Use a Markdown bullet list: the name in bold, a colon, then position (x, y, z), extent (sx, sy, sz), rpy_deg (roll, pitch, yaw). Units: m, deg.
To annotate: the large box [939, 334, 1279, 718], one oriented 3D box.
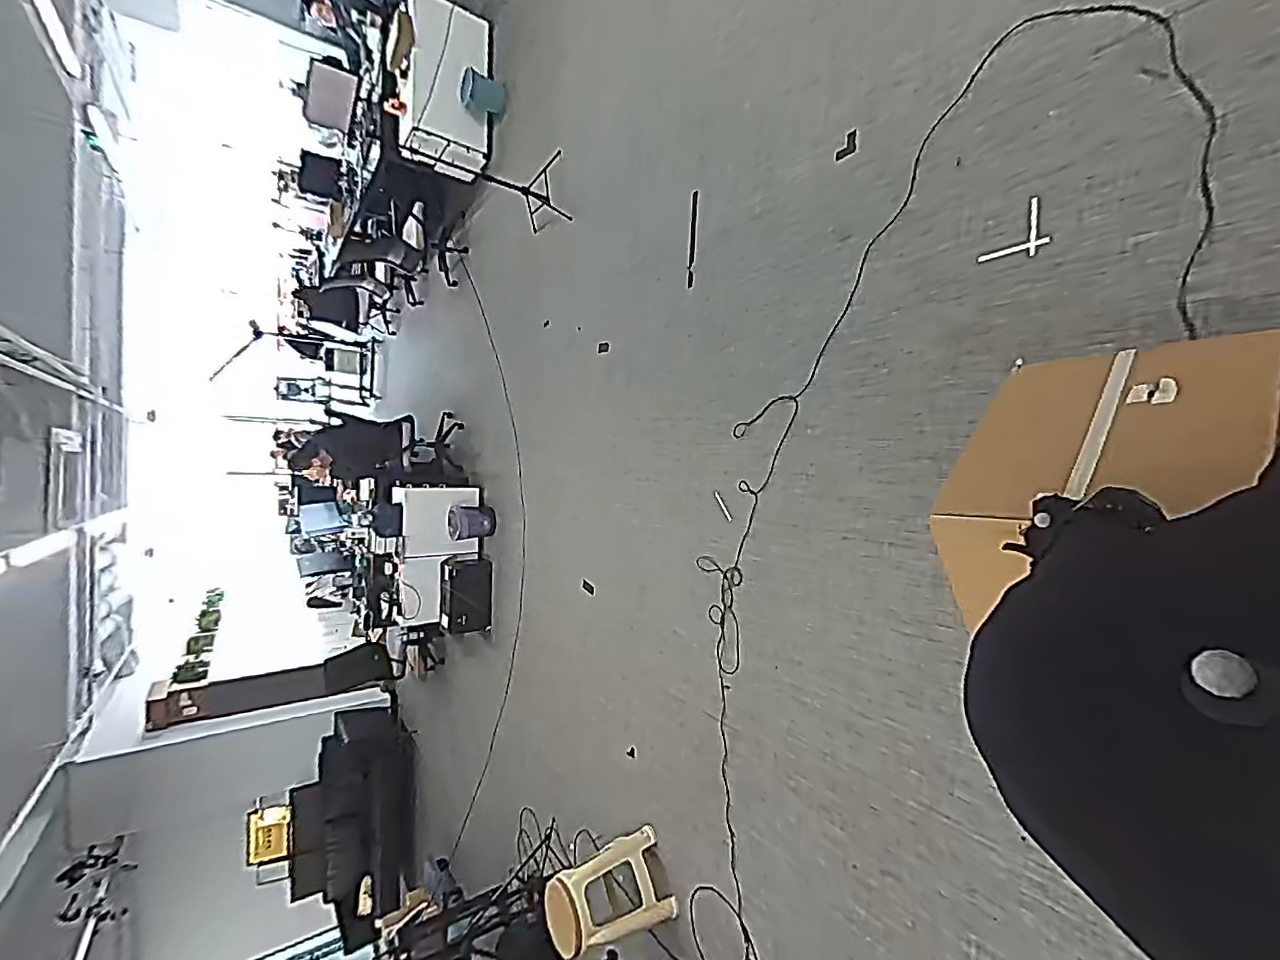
- **large box**: position (0.698, 0.047, 0.782), extent (0.320, 0.408, 0.320), rpy_deg (2, 129, 52)
